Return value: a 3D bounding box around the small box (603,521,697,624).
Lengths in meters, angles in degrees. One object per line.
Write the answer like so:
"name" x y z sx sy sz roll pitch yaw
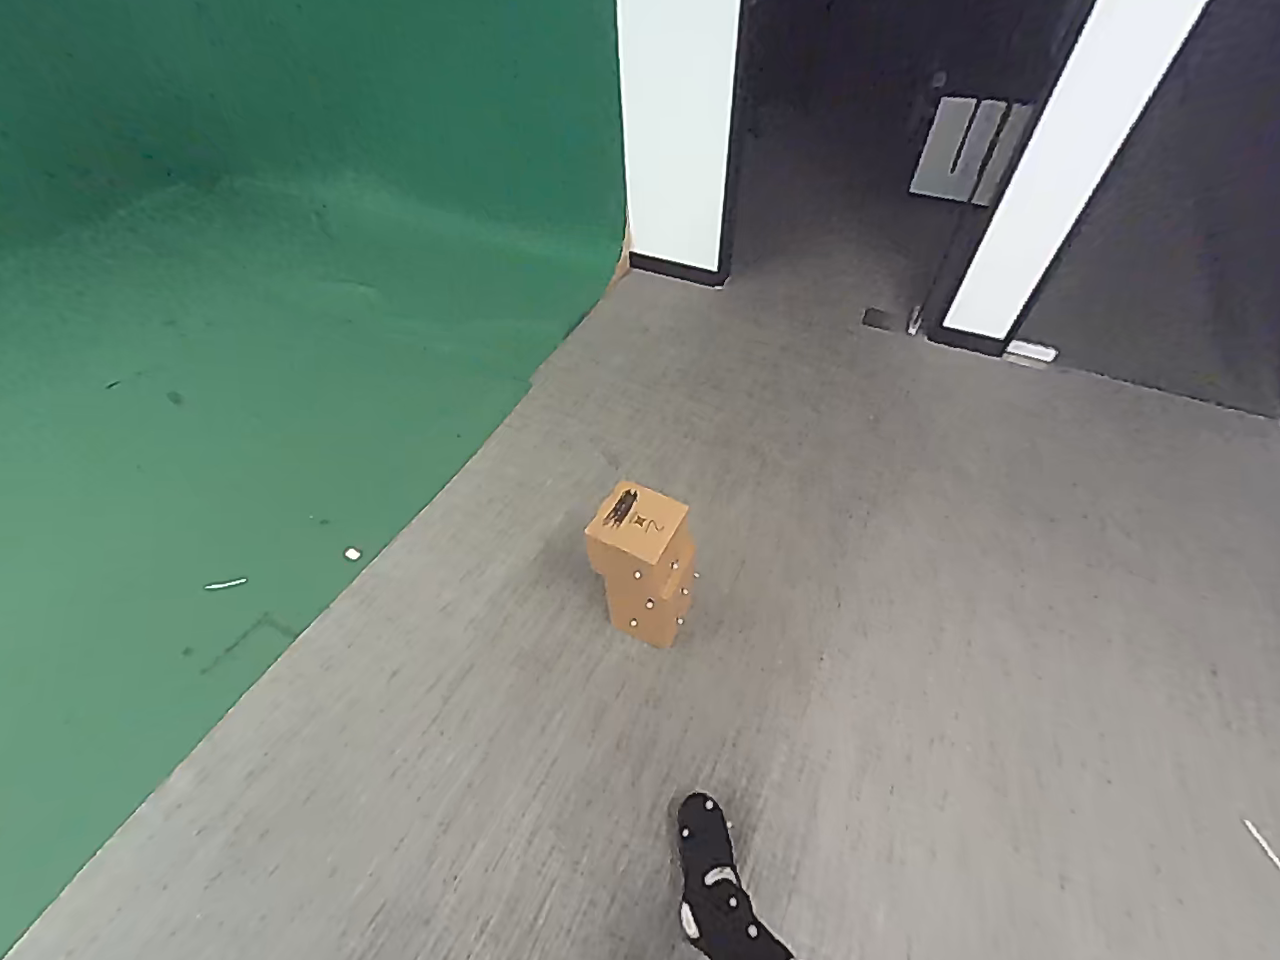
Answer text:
"small box" 0.028 0.237 1.348 0.179 0.176 0.168 21 56 18

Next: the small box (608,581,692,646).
"small box" 0.032 0.334 1.482 0.179 0.176 0.168 20 56 18
